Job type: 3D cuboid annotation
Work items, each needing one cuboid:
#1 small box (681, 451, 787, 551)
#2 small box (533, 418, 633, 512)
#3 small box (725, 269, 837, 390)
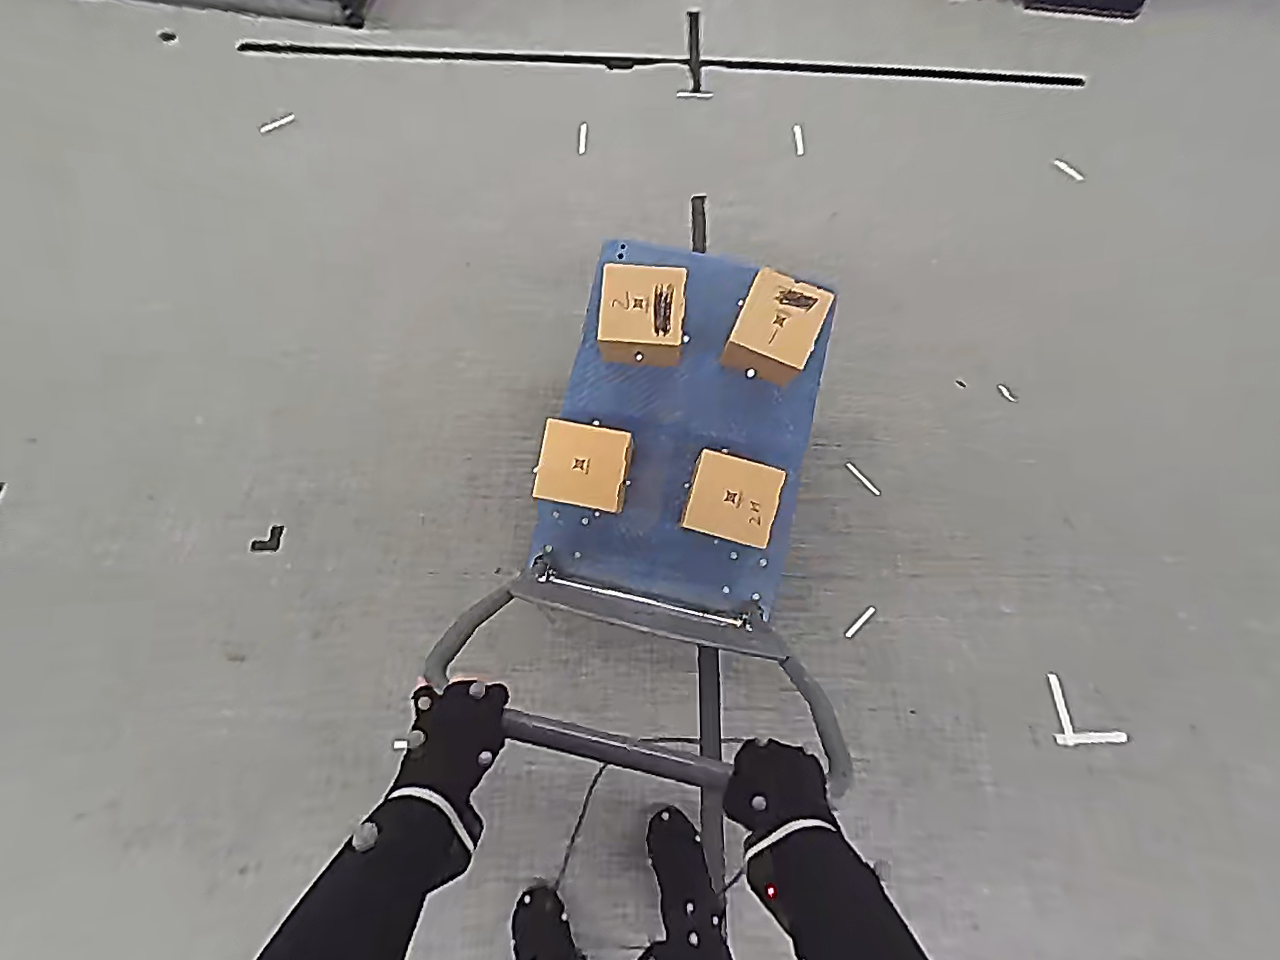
[{"bbox_3d":[0.192,0.048,1.163,0.179,0.176,0.168,17,86,3],"label":"small box"},{"bbox_3d":[-0.116,-0.025,1.177,0.179,0.176,0.168,11,86,1],"label":"small box"},{"bbox_3d":[0.299,-0.322,1.190,0.168,0.176,0.179,24,87,3],"label":"small box"}]
